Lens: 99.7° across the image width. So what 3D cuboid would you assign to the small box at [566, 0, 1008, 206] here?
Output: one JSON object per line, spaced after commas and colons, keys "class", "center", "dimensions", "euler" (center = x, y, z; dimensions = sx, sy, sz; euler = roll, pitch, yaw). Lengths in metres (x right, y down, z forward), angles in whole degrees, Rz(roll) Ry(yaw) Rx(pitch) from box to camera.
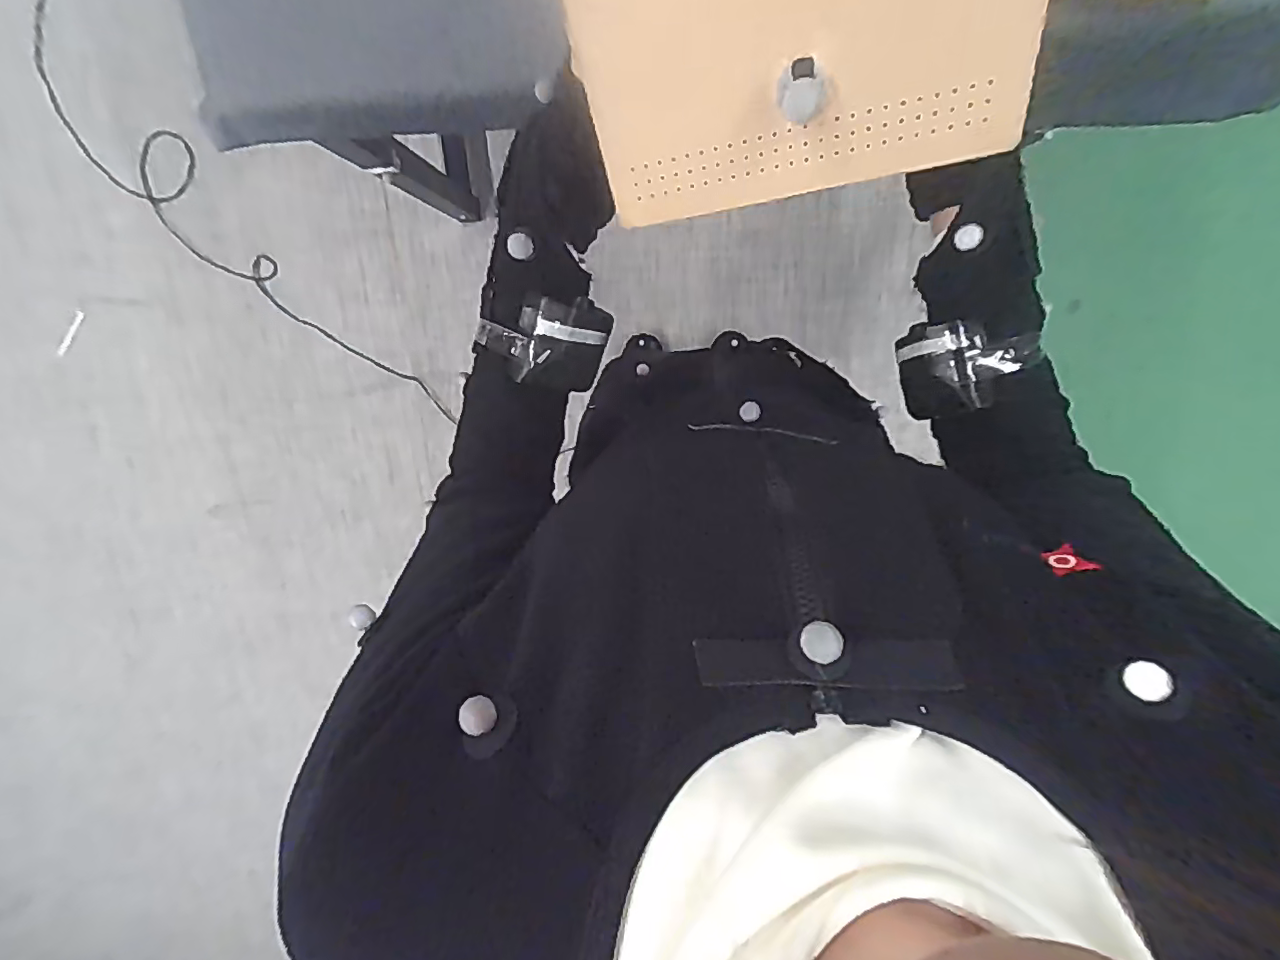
{"class": "small box", "center": [0.063, -0.255, 0.254], "dimensions": [0.179, 0.168, 0.176], "euler": [-5, 133, 14]}
